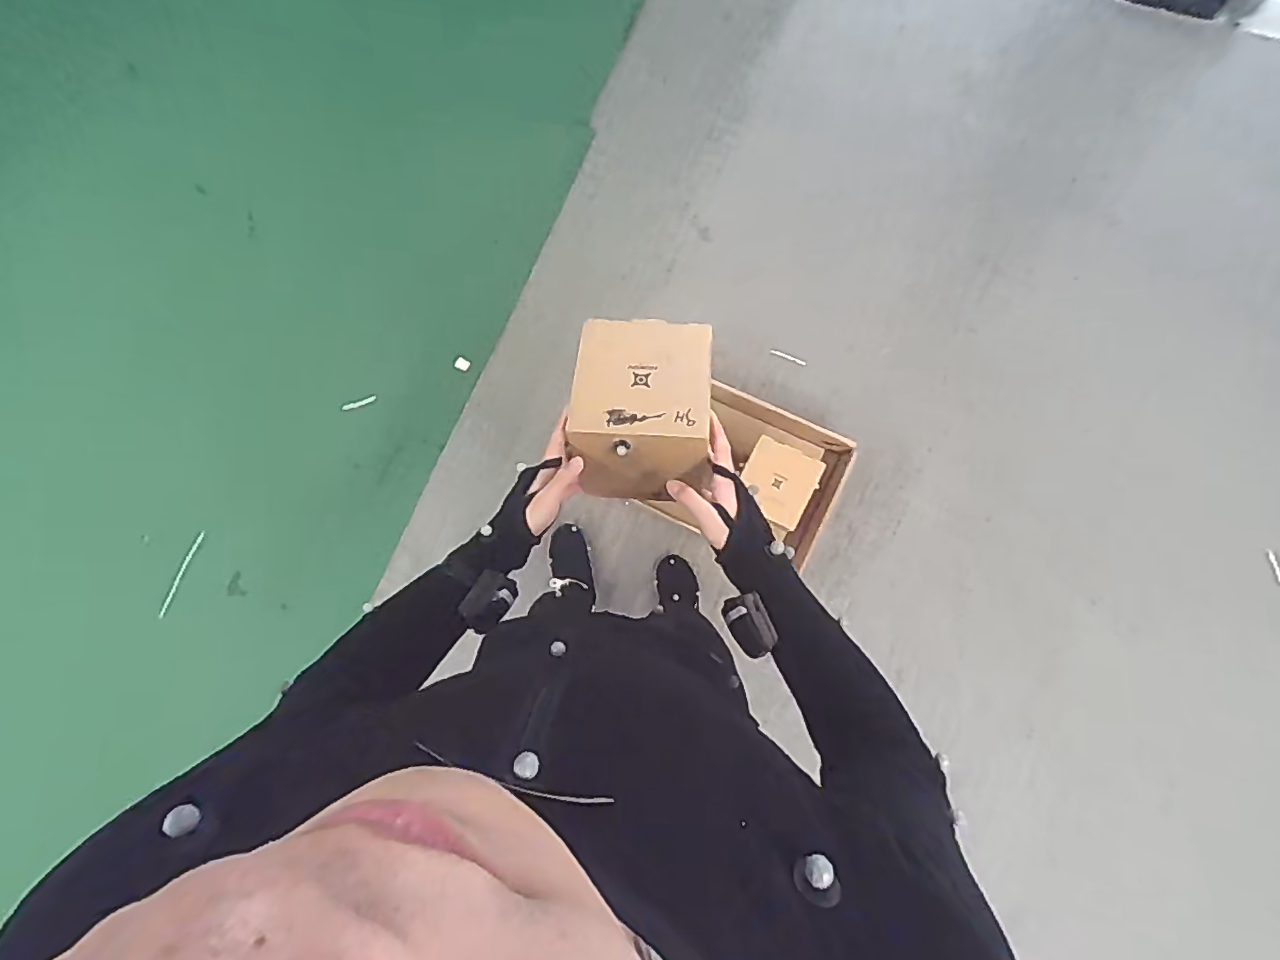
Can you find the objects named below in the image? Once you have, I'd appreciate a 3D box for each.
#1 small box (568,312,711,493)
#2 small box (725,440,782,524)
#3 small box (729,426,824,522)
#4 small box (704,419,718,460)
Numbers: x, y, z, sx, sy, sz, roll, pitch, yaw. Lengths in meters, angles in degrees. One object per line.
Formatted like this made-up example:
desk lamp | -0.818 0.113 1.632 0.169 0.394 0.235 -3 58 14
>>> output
small box | 0.006 -0.100 0.727 0.168 0.176 0.179 2 62 4
small box | 0.345 0.012 1.501 0.168 0.176 0.179 24 87 8
small box | 0.328 -0.008 1.339 0.168 0.176 0.179 27 88 9
small box | 0.111 -0.101 1.532 0.168 0.176 0.179 24 88 6
